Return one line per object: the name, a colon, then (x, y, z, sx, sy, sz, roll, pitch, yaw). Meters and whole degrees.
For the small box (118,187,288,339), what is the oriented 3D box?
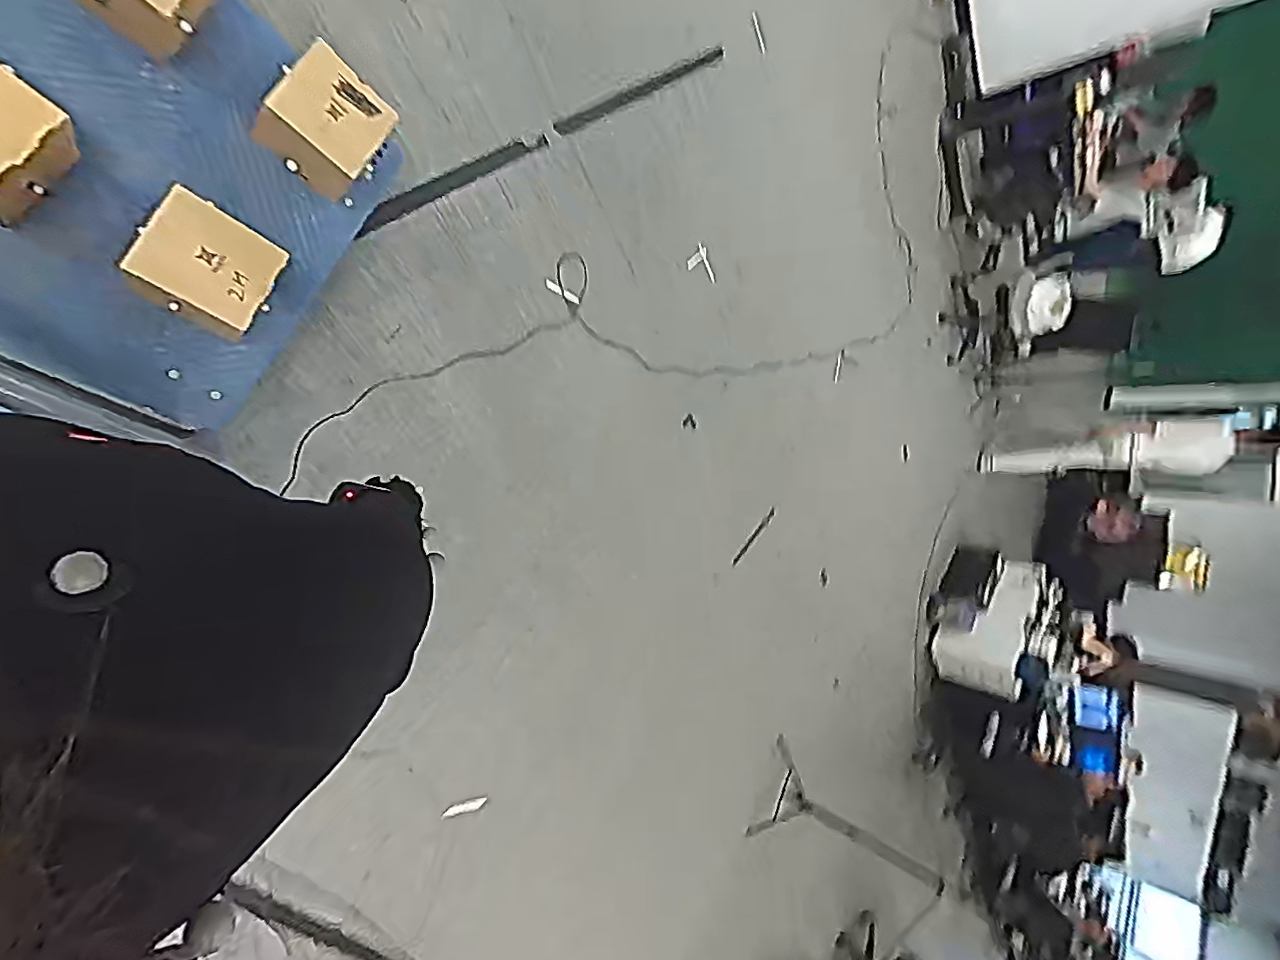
small box: (-0.771, -0.368, 0.960, 0.179, 0.176, 0.168, 32, 73, -40)

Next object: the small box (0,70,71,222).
small box: (-0.970, -0.503, 0.764, 0.179, 0.176, 0.168, 40, 68, -39)

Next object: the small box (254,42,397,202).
small box: (-0.623, -0.692, 1.065, 0.168, 0.176, 0.179, 37, 71, -39)
